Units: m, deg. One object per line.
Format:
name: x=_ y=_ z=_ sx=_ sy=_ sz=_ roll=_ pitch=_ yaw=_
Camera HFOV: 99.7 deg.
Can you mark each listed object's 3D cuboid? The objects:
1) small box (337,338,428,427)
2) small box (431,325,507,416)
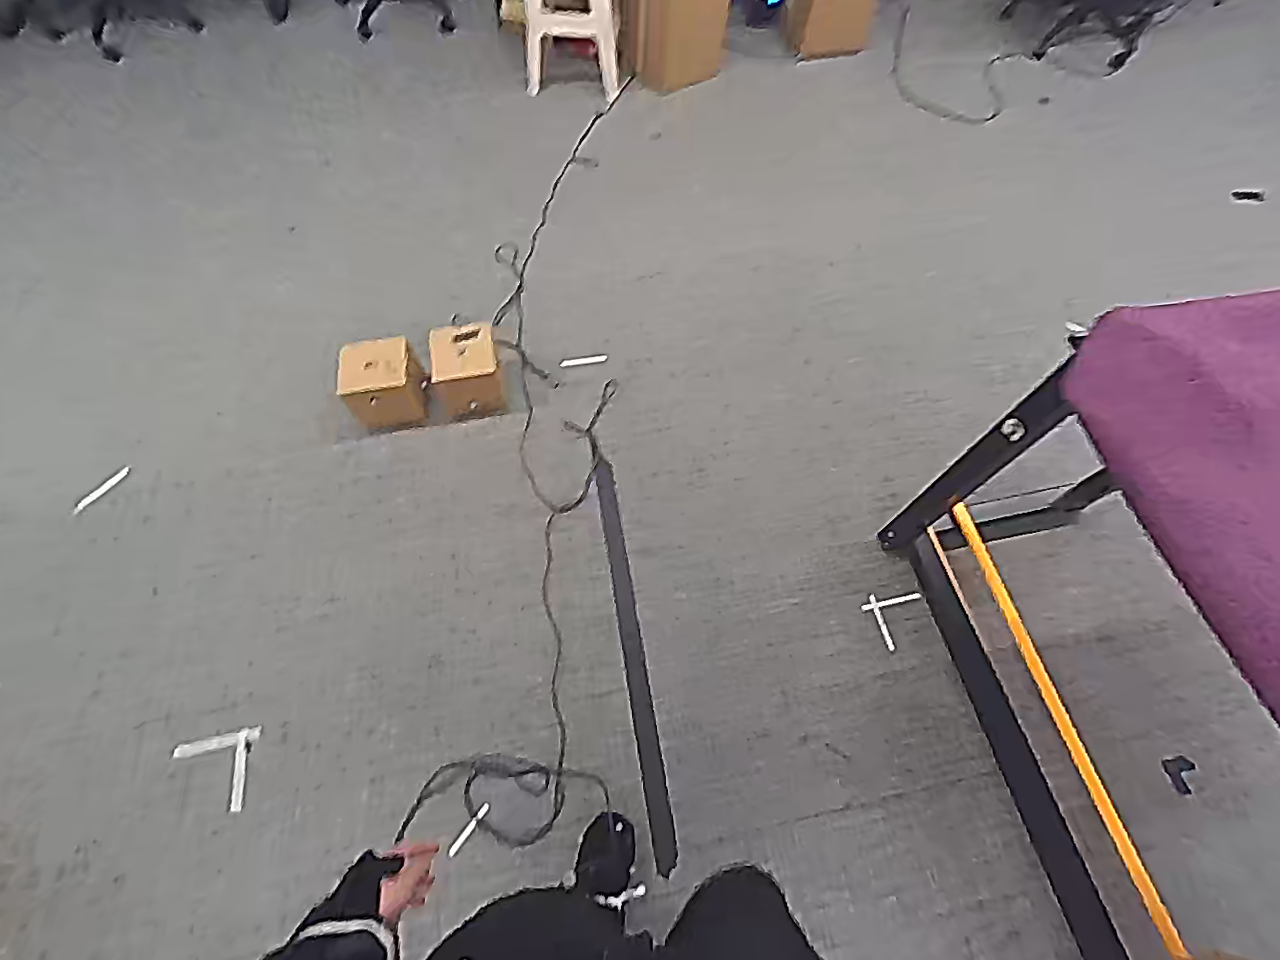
small box: x=-0.704 y=-0.264 z=1.495 sx=0.179 sy=0.176 sz=0.168 roll=-9 pitch=64 yaw=-4
small box: x=-0.478 y=-0.305 z=1.521 sx=0.168 sy=0.176 sz=0.179 roll=-10 pitch=65 yaw=-6
